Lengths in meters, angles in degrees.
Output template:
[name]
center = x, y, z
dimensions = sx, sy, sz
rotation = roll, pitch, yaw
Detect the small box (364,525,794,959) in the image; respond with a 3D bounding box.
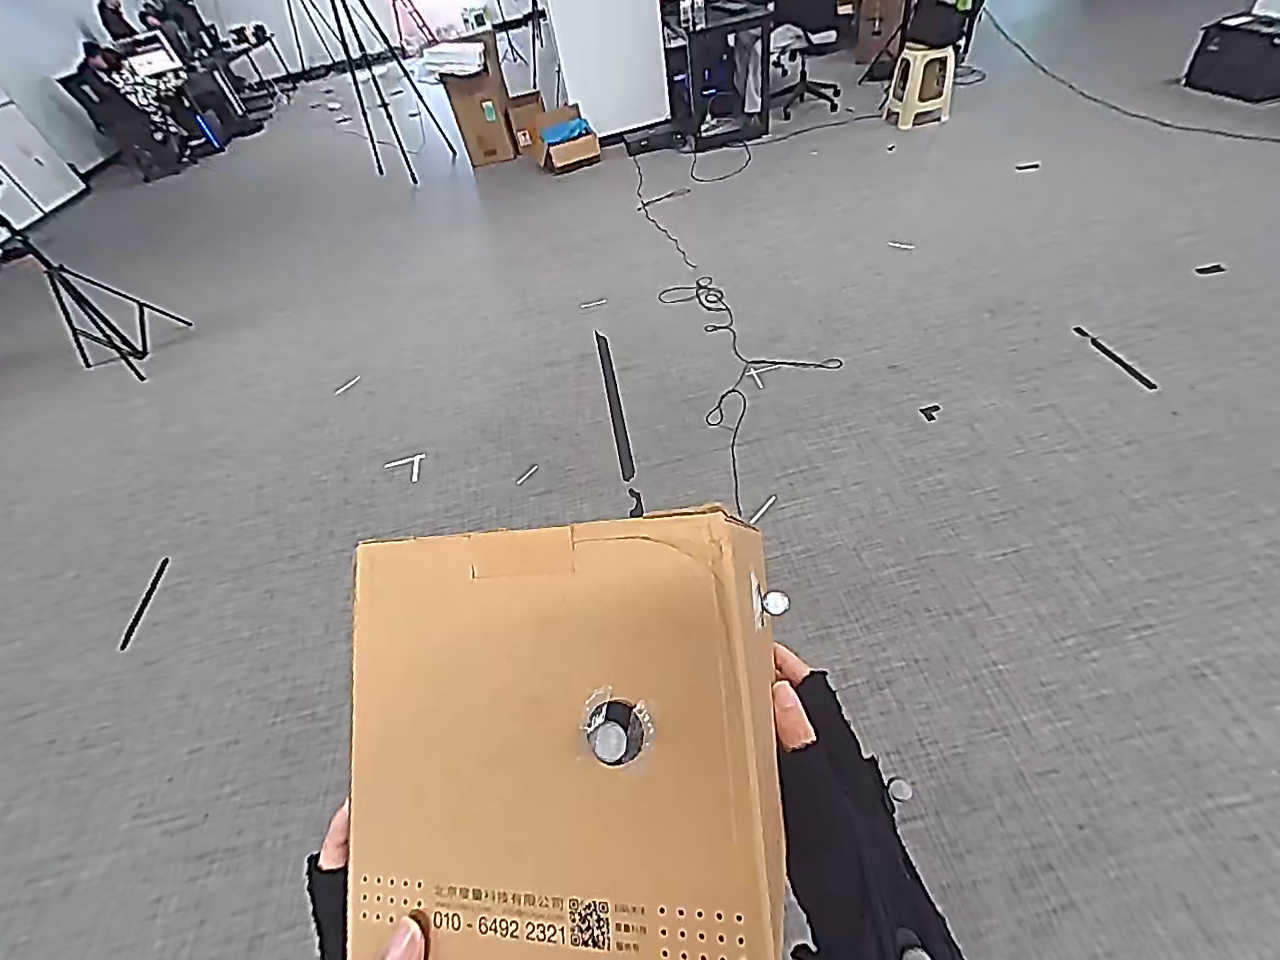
[small box]
center = -0.013, 0.119, 0.283
dimensions = 0.168, 0.179, 0.176
rotation = -6, 80, 16
